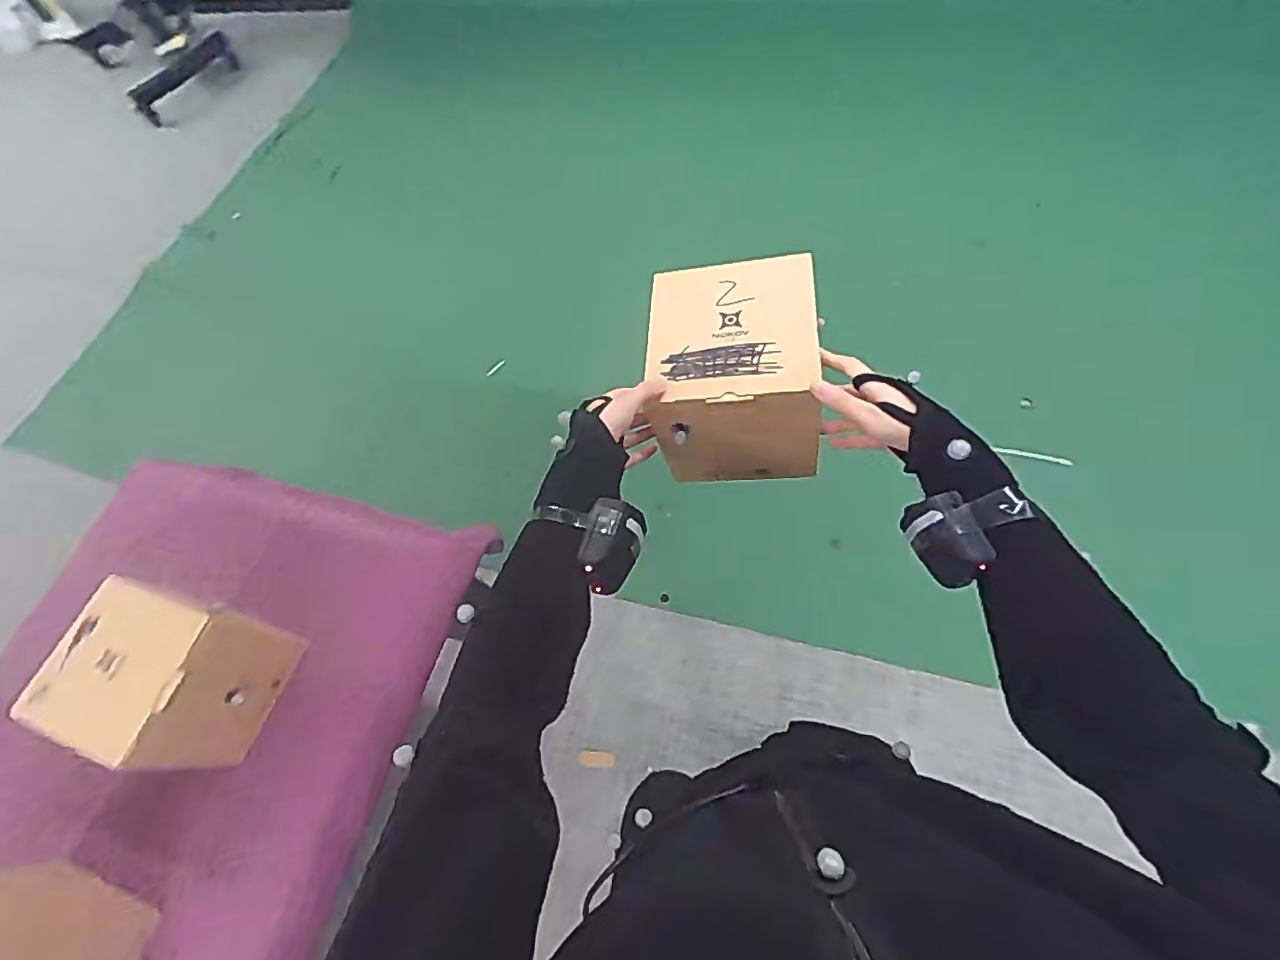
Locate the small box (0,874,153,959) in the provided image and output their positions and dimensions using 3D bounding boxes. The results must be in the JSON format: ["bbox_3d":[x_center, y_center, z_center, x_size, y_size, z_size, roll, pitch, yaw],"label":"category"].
[{"bbox_3d":[-0.676,0.532,0.548,0.179,0.176,0.168,13,67,13],"label":"small box"}]

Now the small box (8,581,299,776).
[{"bbox_3d":[-0.583,0.247,0.678,0.179,0.176,0.168,14,67,14],"label":"small box"}]
